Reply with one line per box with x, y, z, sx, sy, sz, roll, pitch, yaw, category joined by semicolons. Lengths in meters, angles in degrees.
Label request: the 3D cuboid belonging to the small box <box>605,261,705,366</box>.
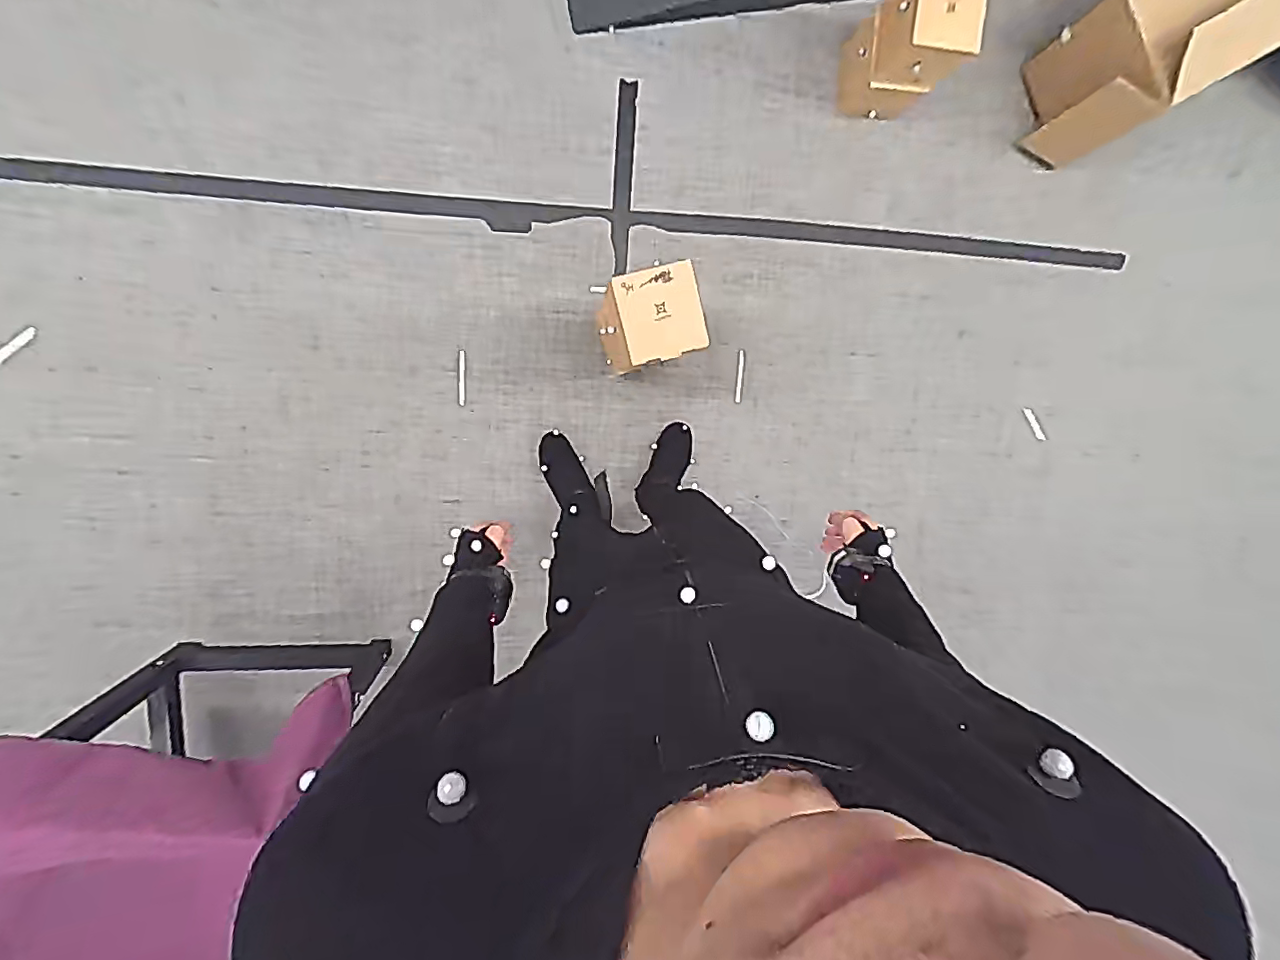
0.027;-0.347;1.153;0.168;0.176;0.179;-15;102;-6;small box
